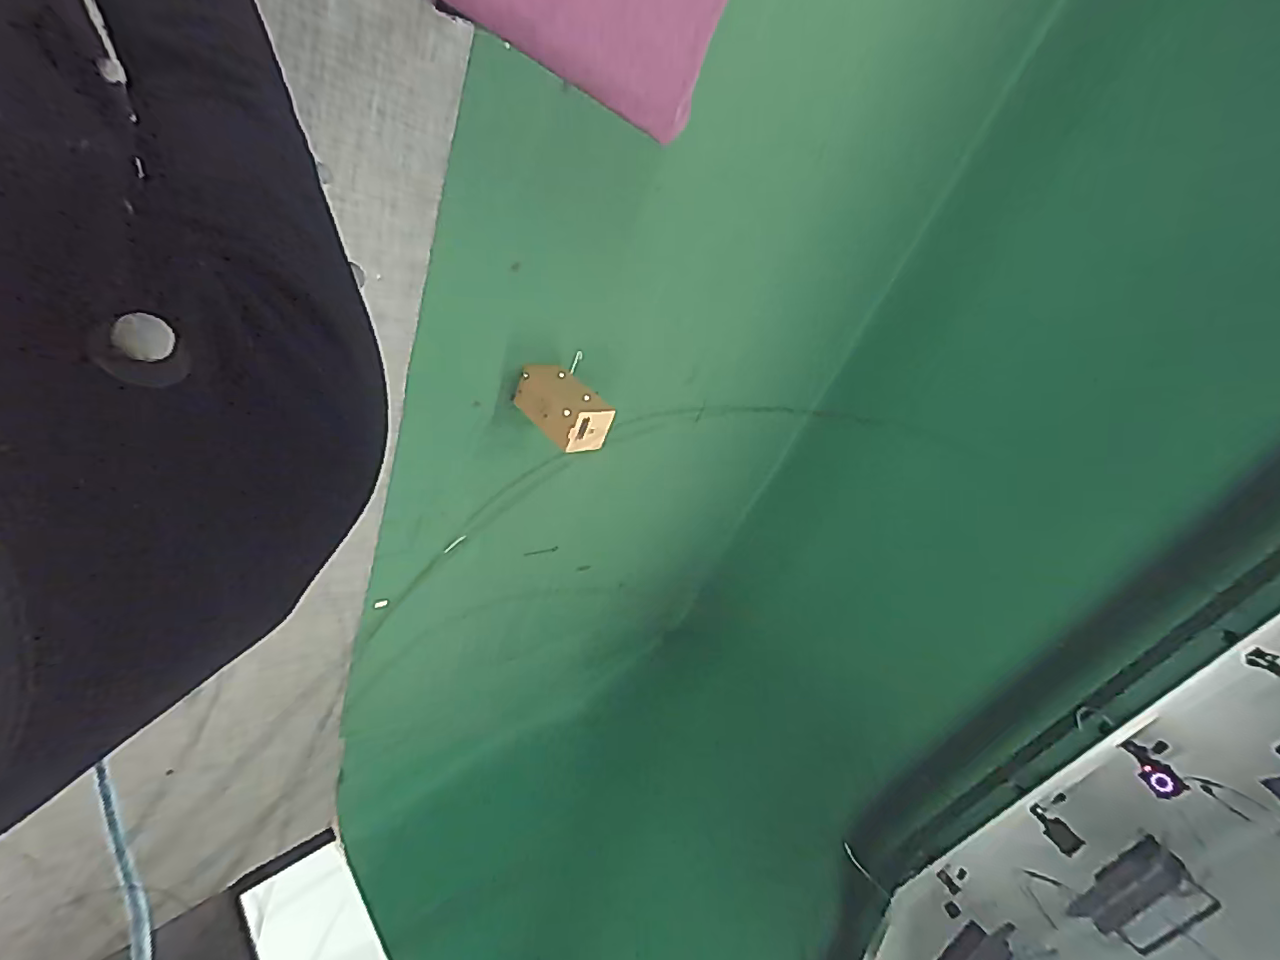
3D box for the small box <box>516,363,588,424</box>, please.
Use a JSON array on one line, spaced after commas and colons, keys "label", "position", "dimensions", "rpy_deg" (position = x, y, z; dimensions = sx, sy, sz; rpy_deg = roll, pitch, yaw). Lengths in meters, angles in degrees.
[{"label": "small box", "position": [-0.332, -0.322, 2.009], "dimensions": [0.179, 0.176, 0.168], "rpy_deg": [-10, 135, -48]}]
